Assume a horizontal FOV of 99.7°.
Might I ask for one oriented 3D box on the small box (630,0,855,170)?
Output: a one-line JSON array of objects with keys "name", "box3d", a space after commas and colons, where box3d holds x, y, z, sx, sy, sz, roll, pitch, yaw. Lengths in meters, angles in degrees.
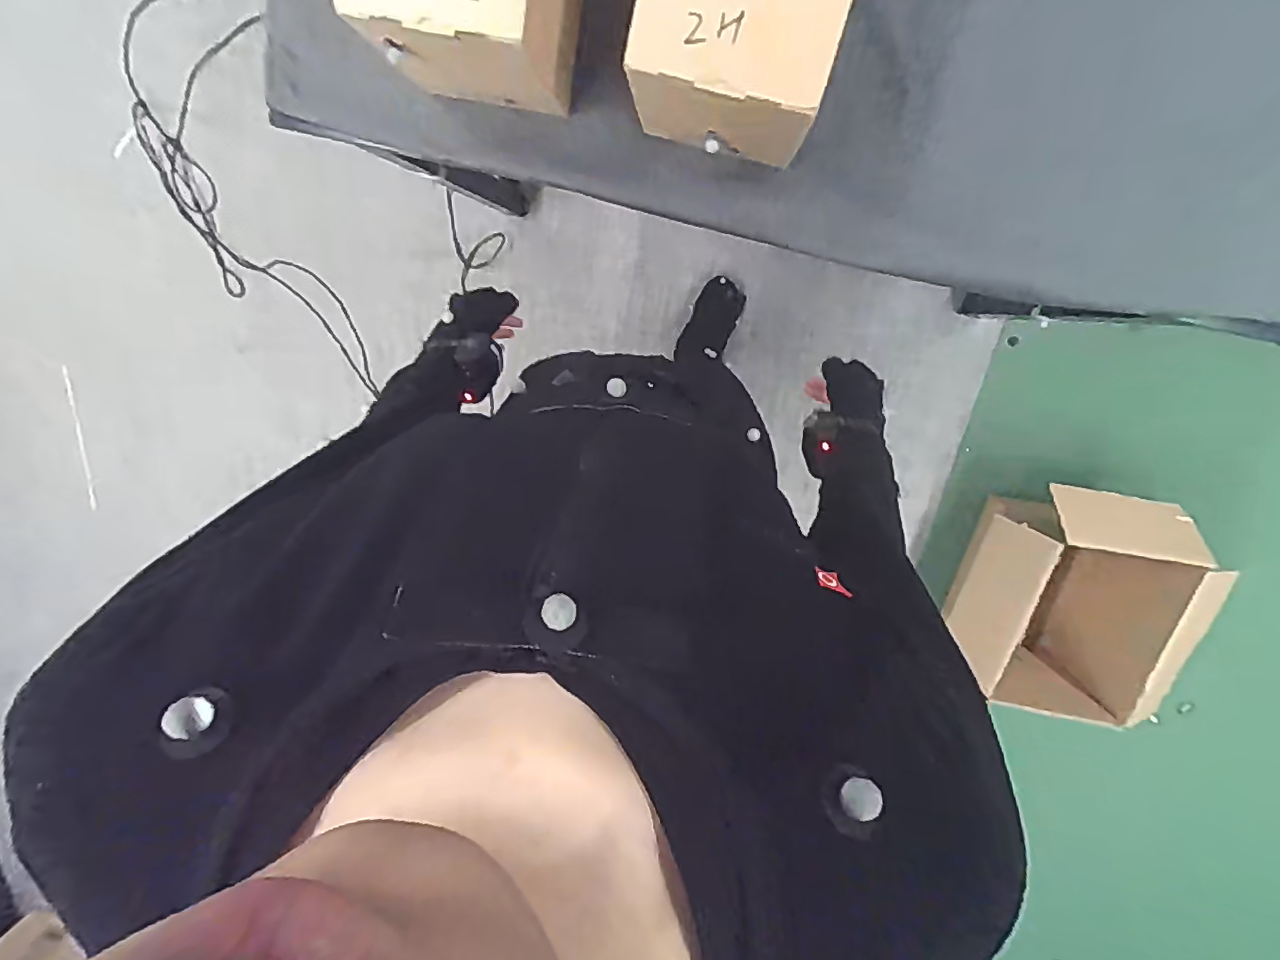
[{"name": "small box", "box3d": [0.097, -0.419, 0.498, 0.168, 0.176, 0.179, 15, 108, 1]}]
